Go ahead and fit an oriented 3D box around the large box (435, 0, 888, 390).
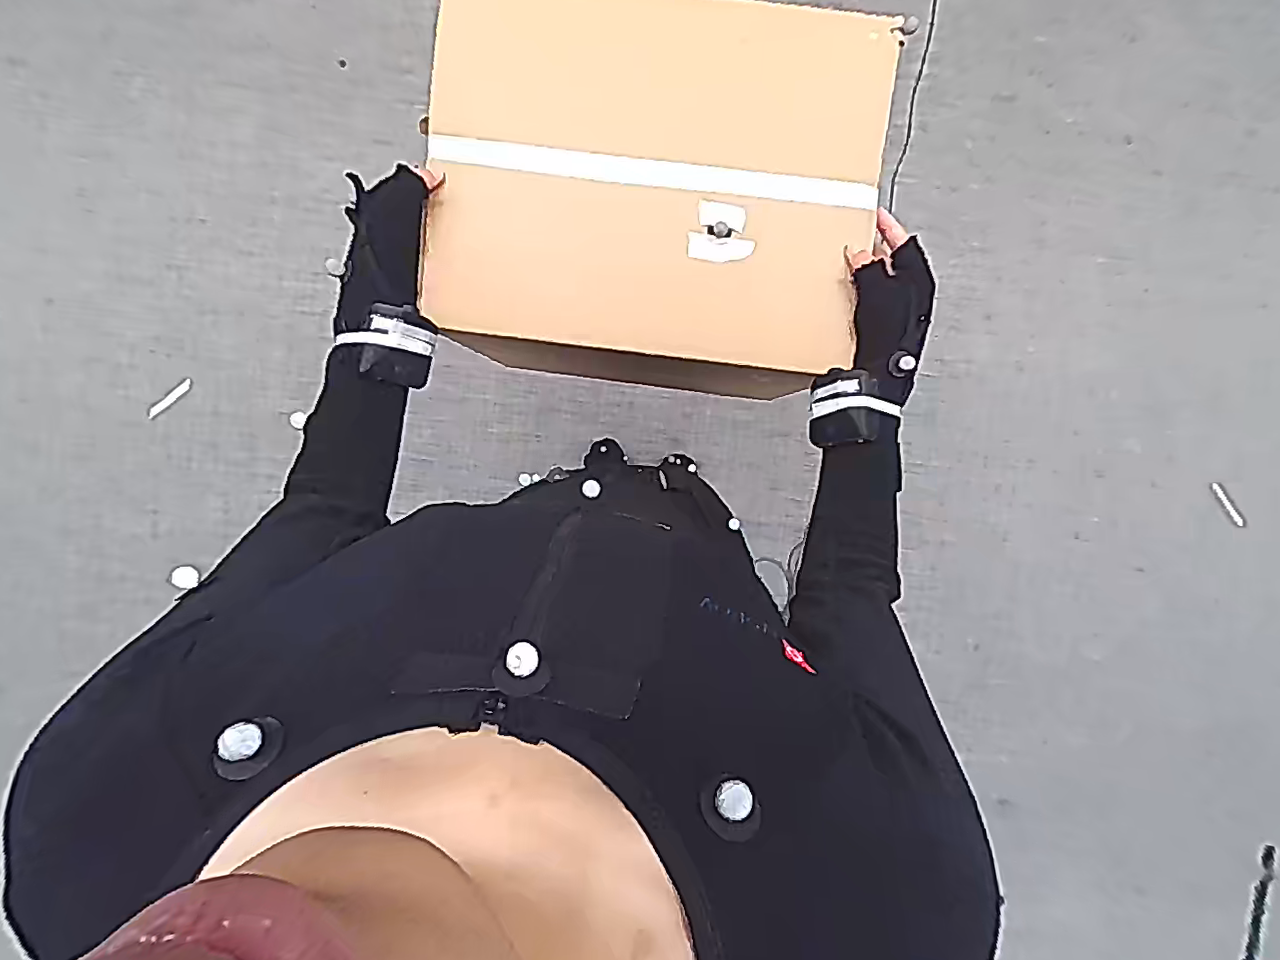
[{"bbox_3d":[0.014,-0.294,0.651,0.408,0.320,0.320,7,95,0],"label":"large box"}]
